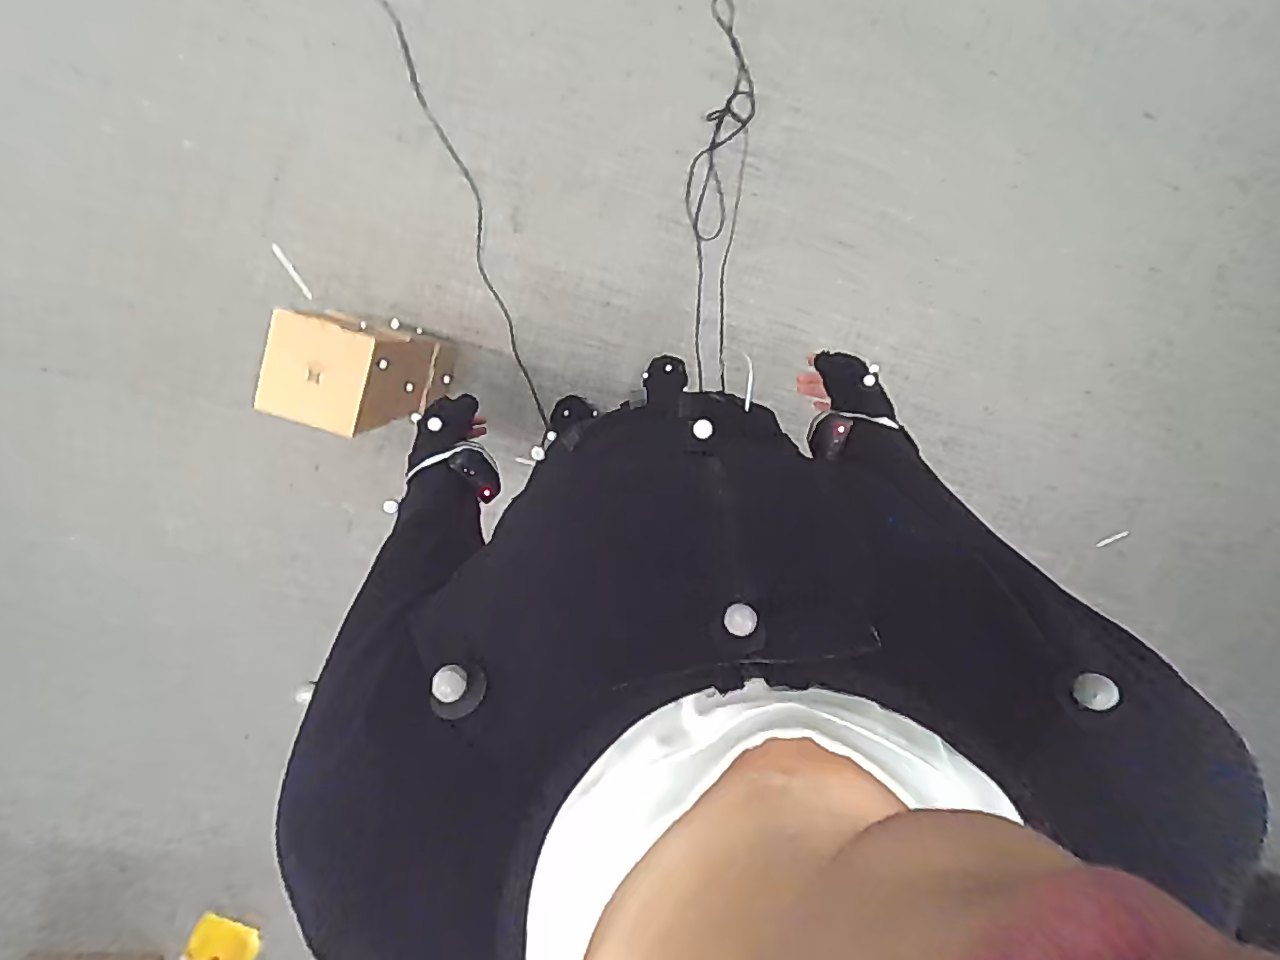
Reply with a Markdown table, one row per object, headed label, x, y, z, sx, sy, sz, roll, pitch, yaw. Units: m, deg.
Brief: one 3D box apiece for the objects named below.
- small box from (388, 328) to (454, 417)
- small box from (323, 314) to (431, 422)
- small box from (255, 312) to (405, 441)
| label | x | y | z | sx | sy | sz | roll | pitch | yaw |
| --- | --- | --- | --- | --- | --- | --- | --- | --- | --- |
| small box | -0.563 | -0.262 | 1.294 | 0.179 | 0.176 | 0.168 | 17 | 100 | -8 |
| small box | -0.557 | -0.229 | 1.132 | 0.168 | 0.176 | 0.179 | 17 | 100 | -8 |
| small box | -0.547 | -0.185 | 0.976 | 0.168 | 0.176 | 0.179 | 17 | 100 | -8 |
